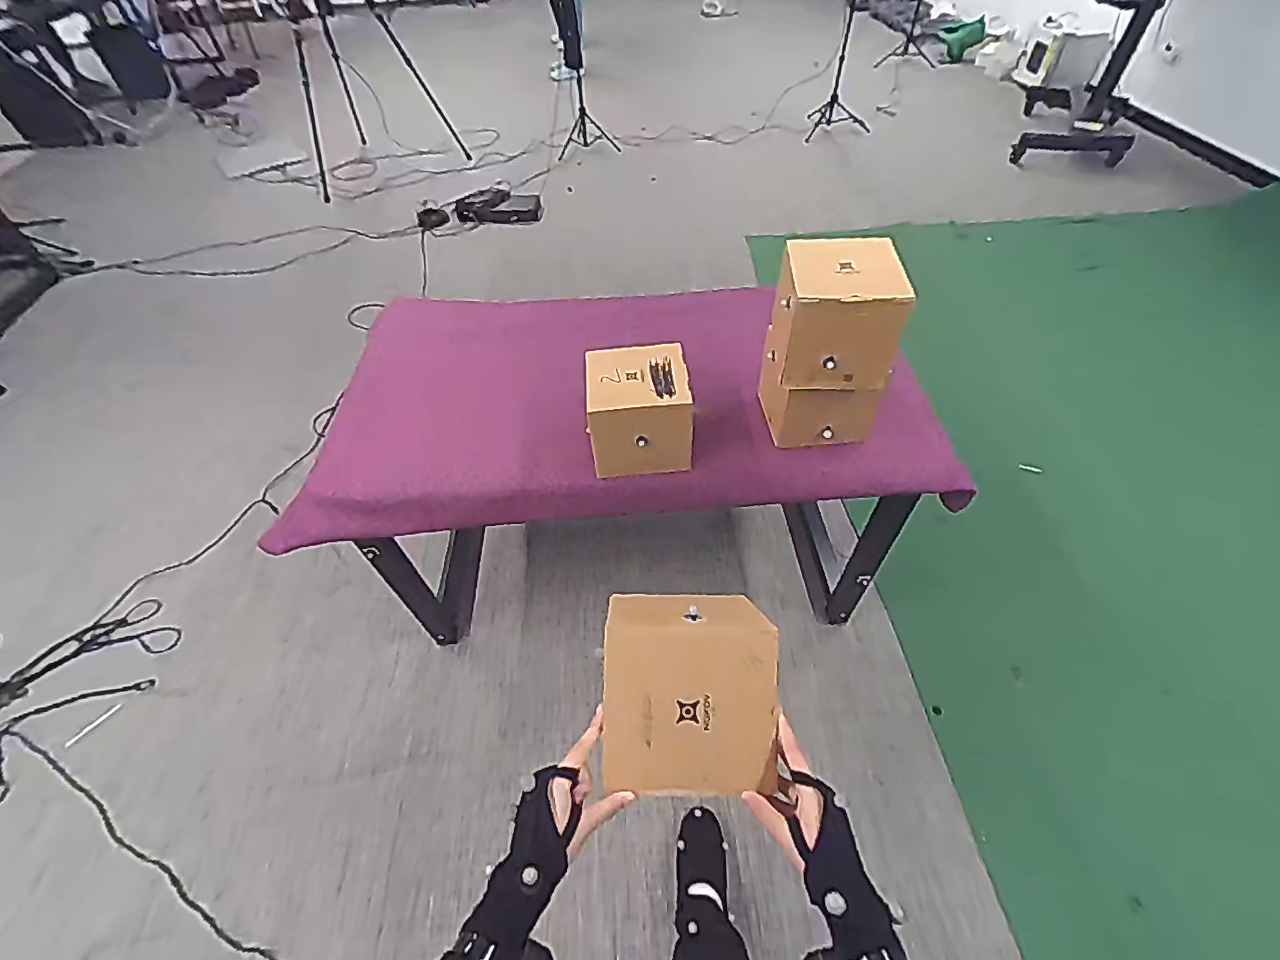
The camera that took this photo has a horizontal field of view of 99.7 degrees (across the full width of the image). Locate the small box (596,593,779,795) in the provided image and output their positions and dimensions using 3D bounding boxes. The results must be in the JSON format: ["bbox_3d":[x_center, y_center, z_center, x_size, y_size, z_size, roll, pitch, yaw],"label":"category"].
[{"bbox_3d":[0.045,0.223,0.605,0.179,0.176,0.168,2,87,-1],"label":"small box"}]

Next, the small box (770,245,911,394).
[{"bbox_3d":[0.309,-0.260,0.878,0.168,0.176,0.179,1,50,5],"label":"small box"}]

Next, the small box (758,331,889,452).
[{"bbox_3d":[0.331,-0.169,1.014,0.179,0.176,0.168,-5,48,0],"label":"small box"}]
